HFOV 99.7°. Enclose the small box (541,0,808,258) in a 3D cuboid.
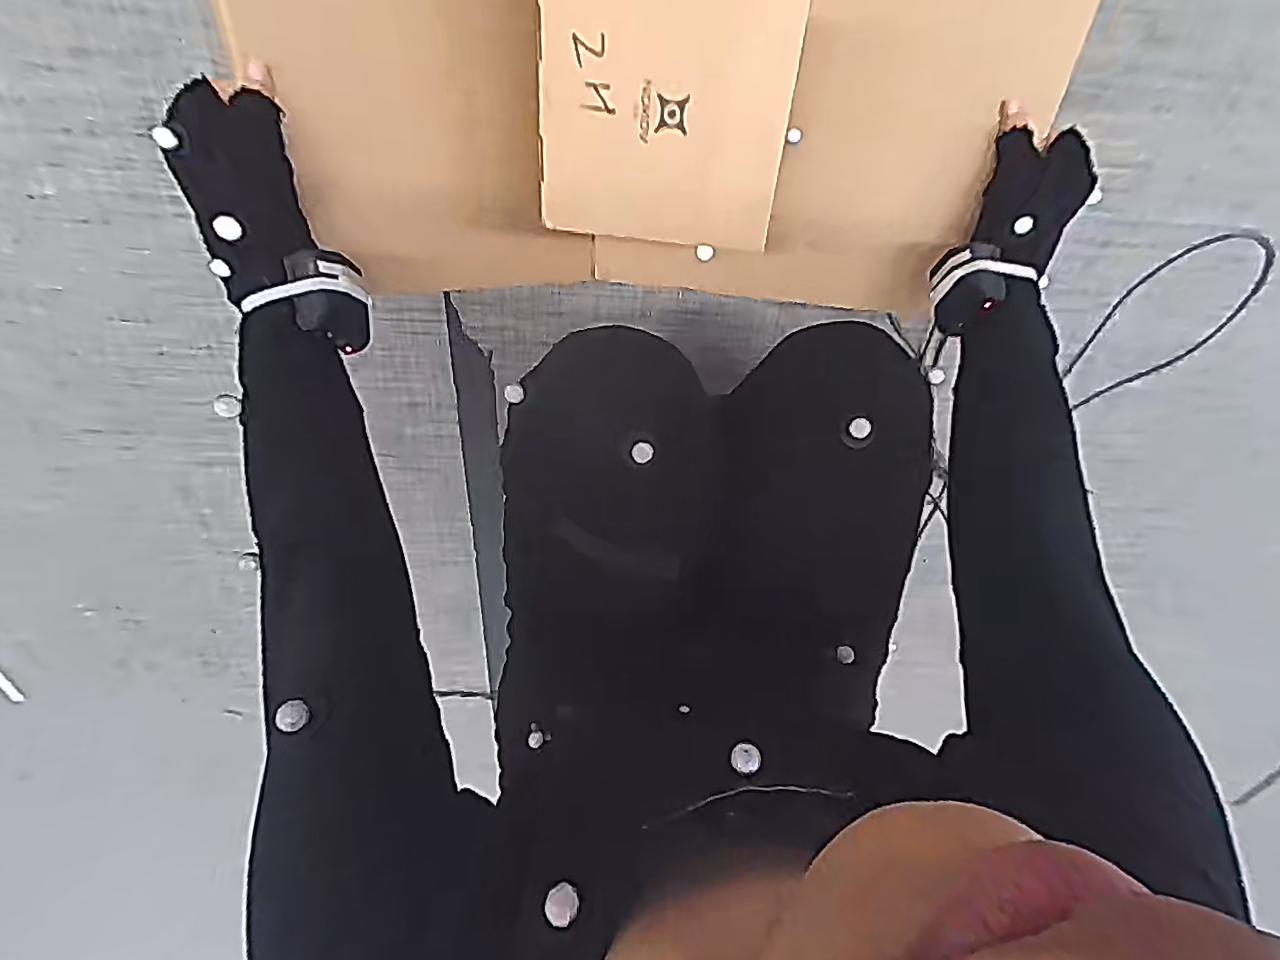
[{"bbox_3d":[0.027,-0.298,0.452,0.179,0.176,0.168,10,123,6],"label":"small box"}]
